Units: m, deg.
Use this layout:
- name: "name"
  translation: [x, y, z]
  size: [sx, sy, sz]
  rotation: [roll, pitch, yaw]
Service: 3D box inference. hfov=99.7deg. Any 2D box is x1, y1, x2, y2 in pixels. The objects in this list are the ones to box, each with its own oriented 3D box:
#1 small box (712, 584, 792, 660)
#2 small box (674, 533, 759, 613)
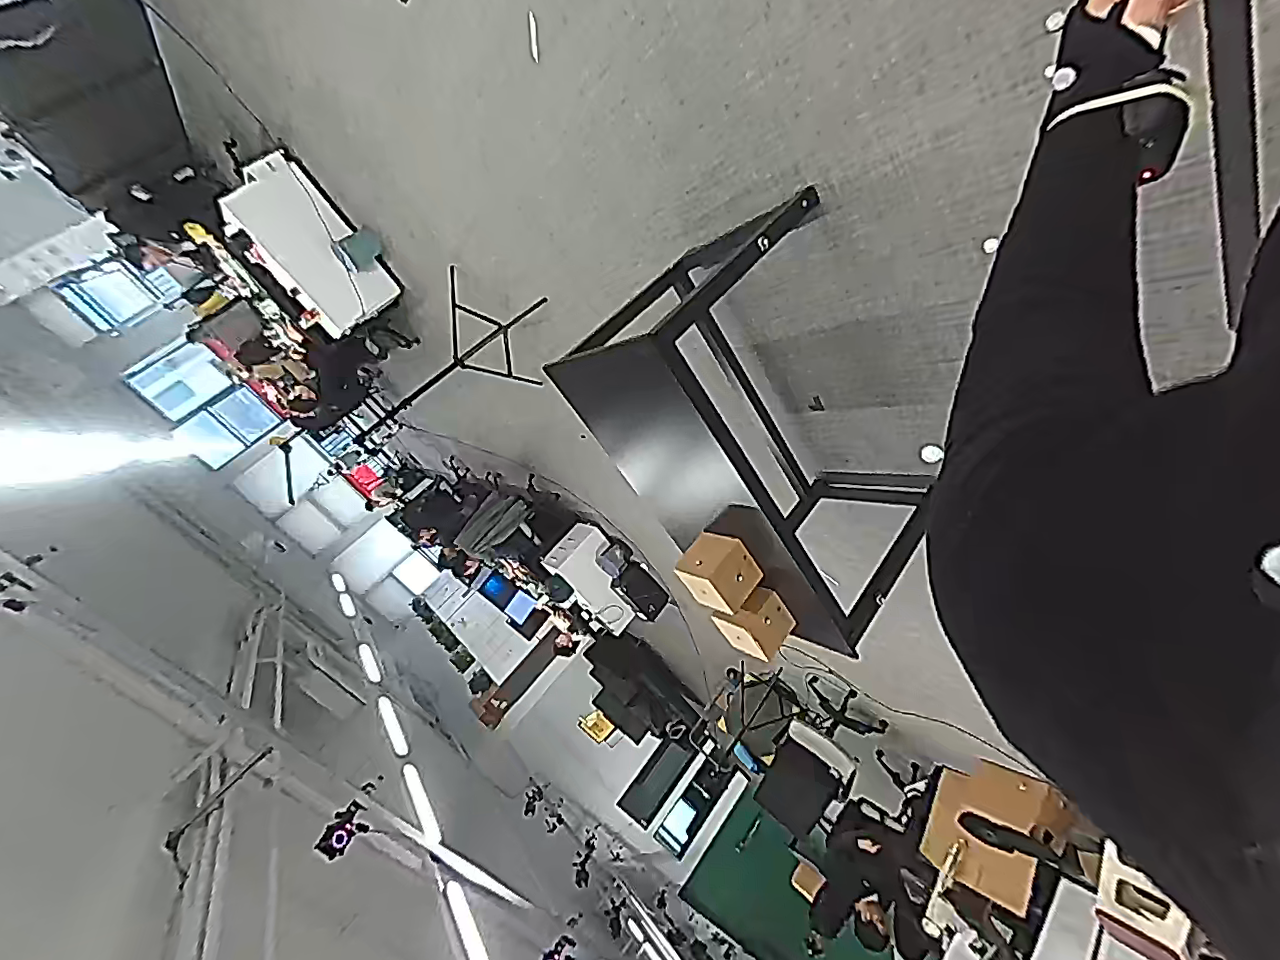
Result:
- name: "small box"
  translation: [0.381, 0.458, 1.797]
  size: [0.168, 0.176, 0.179]
  rotation: [54, 157, -23]
- name: "small box"
  translation: [0.249, 0.284, 1.698]
  size: [0.179, 0.176, 0.168]
  rotation: [7, 138, 57]
